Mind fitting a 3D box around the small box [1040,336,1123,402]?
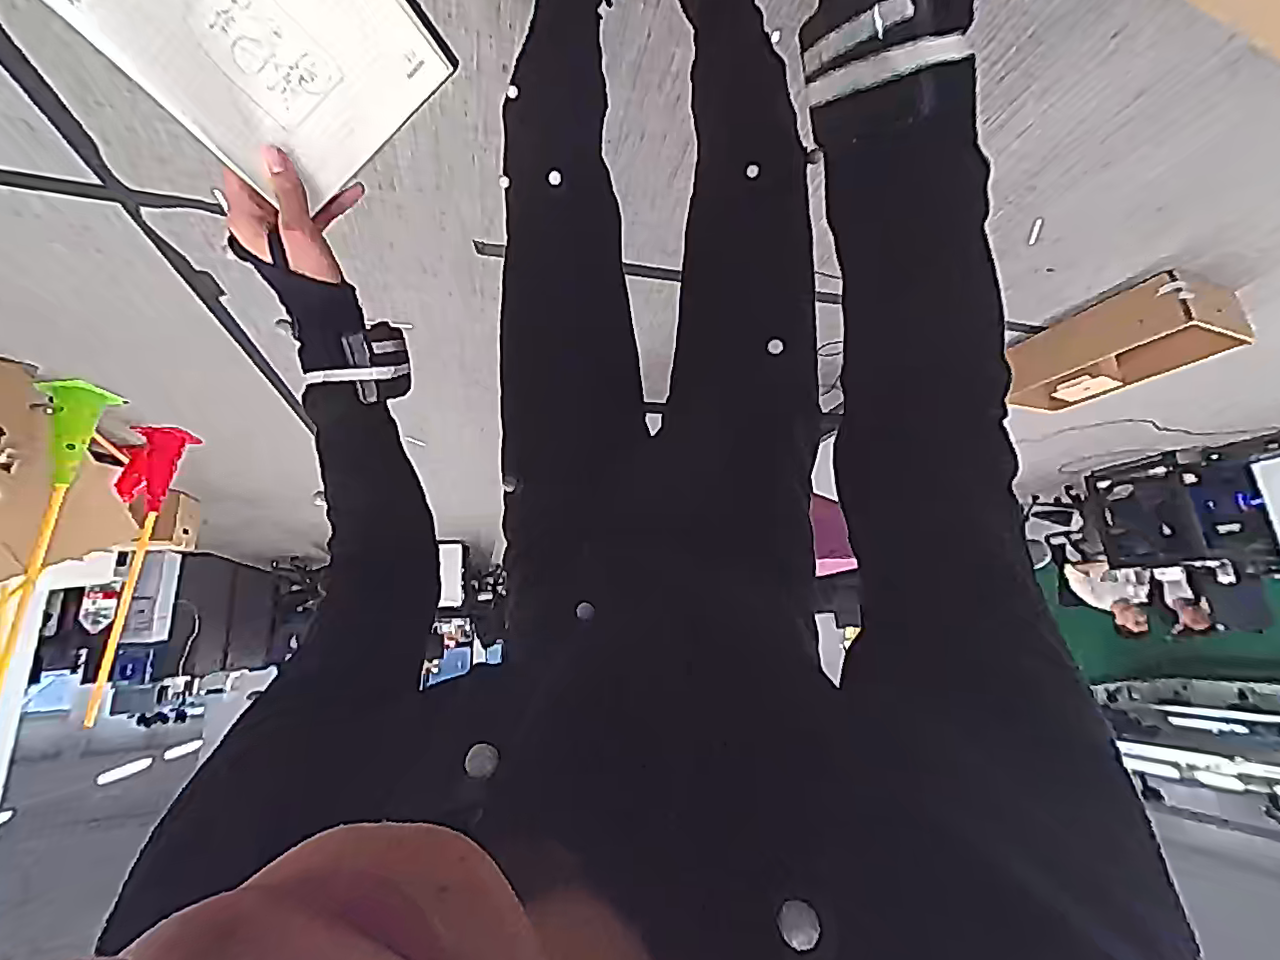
[{"bbox_3d":[1.607,-0.406,1.975,0.179,0.176,0.168,6,161,-30],"label":"small box"}]
